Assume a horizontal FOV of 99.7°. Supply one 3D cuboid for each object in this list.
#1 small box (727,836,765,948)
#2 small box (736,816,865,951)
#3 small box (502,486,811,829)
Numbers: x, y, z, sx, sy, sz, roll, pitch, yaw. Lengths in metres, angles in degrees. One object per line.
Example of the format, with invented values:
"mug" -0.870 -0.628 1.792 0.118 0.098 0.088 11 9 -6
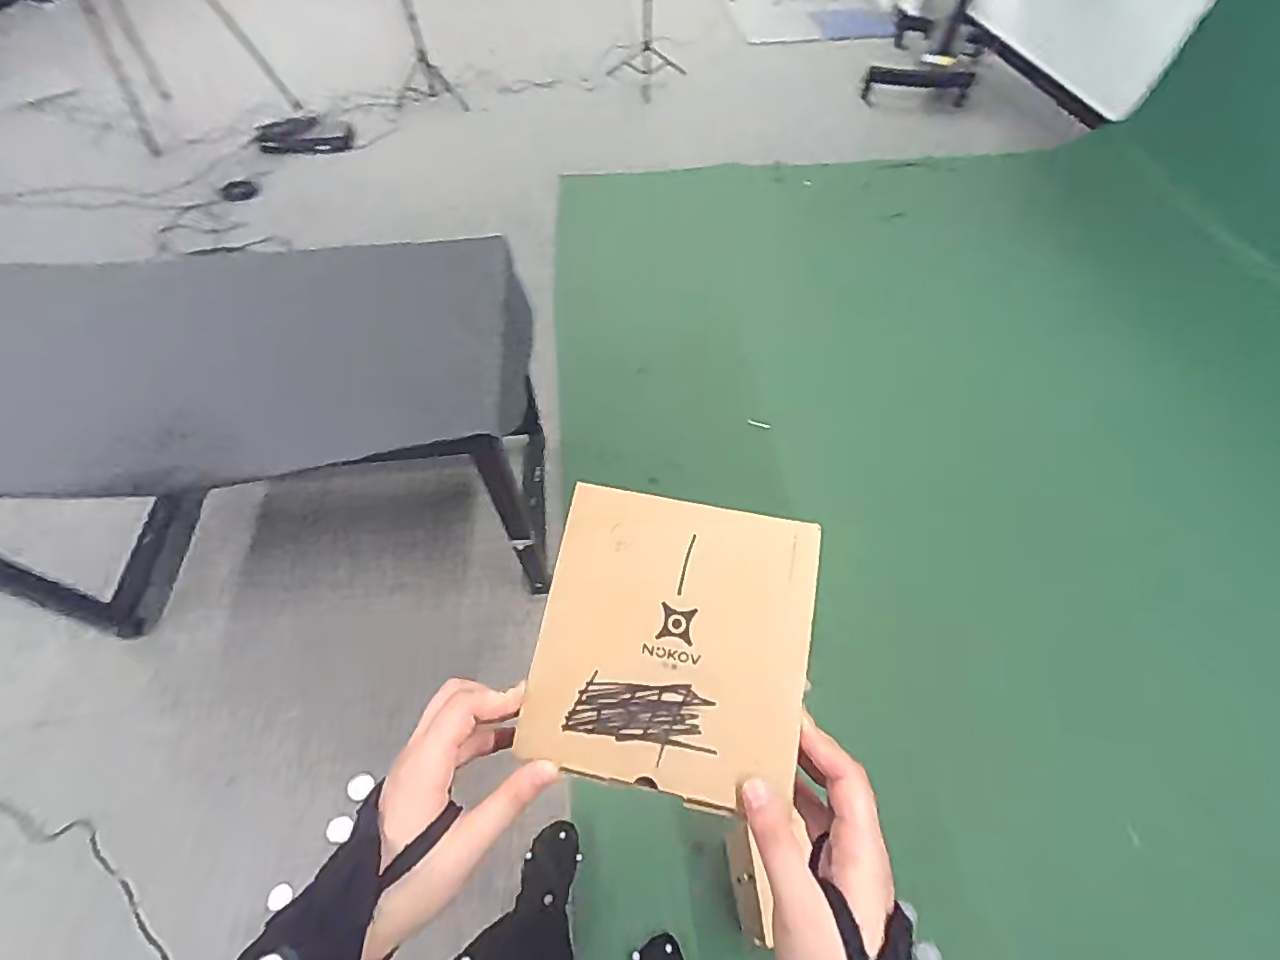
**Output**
"small box" 0.278 0.820 1.101 0.168 0.176 0.179 -6 56 -2
"small box" 0.275 0.718 0.974 0.168 0.176 0.179 -4 56 -1
"small box" 0.018 0.122 0.406 0.168 0.176 0.179 10 73 6
